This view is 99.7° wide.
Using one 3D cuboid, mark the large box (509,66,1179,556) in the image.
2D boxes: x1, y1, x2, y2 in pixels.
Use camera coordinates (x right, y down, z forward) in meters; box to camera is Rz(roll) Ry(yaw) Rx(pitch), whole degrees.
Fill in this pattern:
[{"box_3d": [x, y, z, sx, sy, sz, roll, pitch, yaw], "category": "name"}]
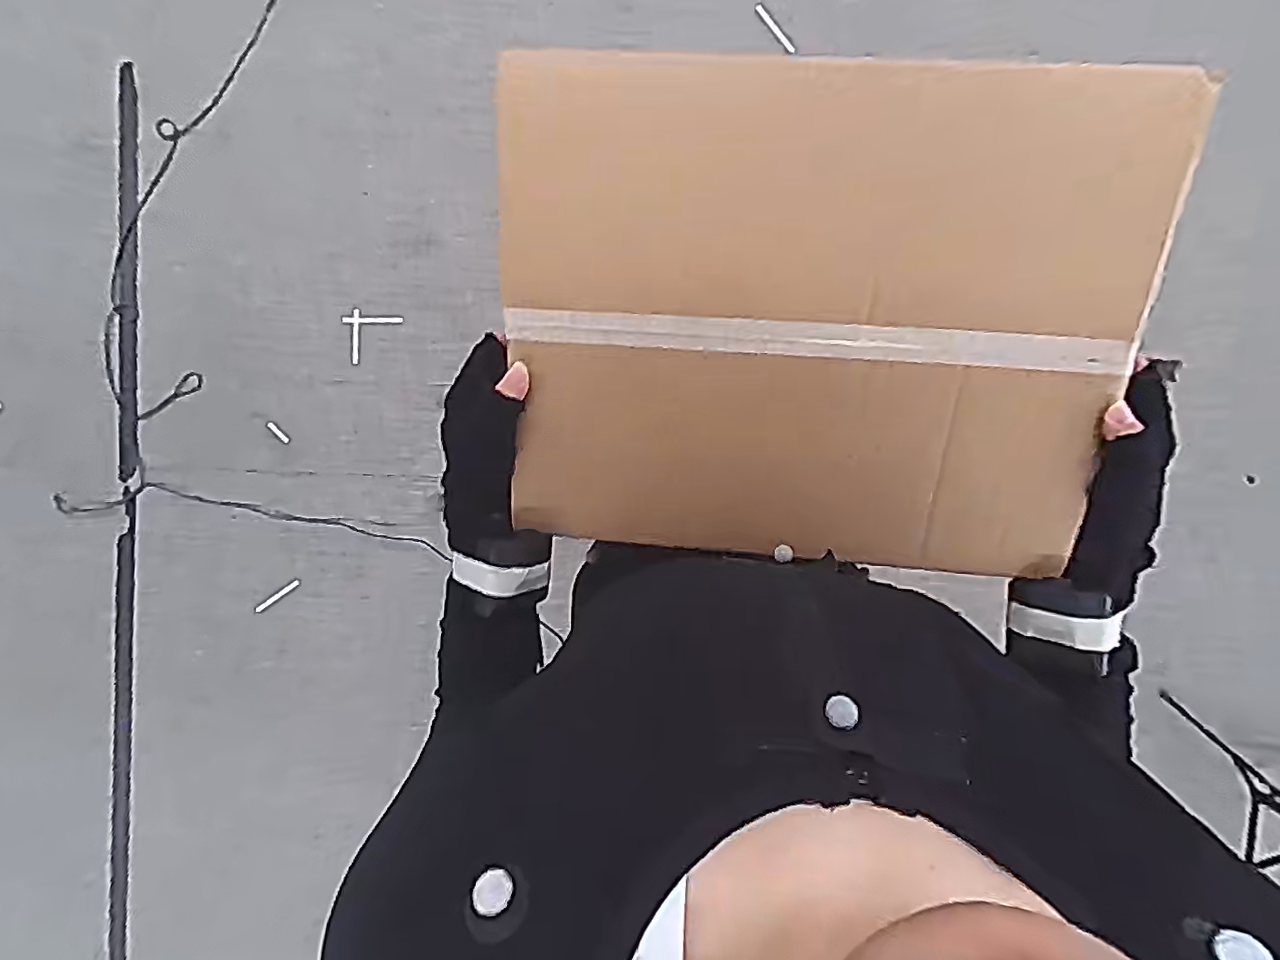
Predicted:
[{"box_3d": [0.119, -0.145, 0.512, 0.408, 0.320, 0.320, 5, 110, 4], "category": "large box"}]
